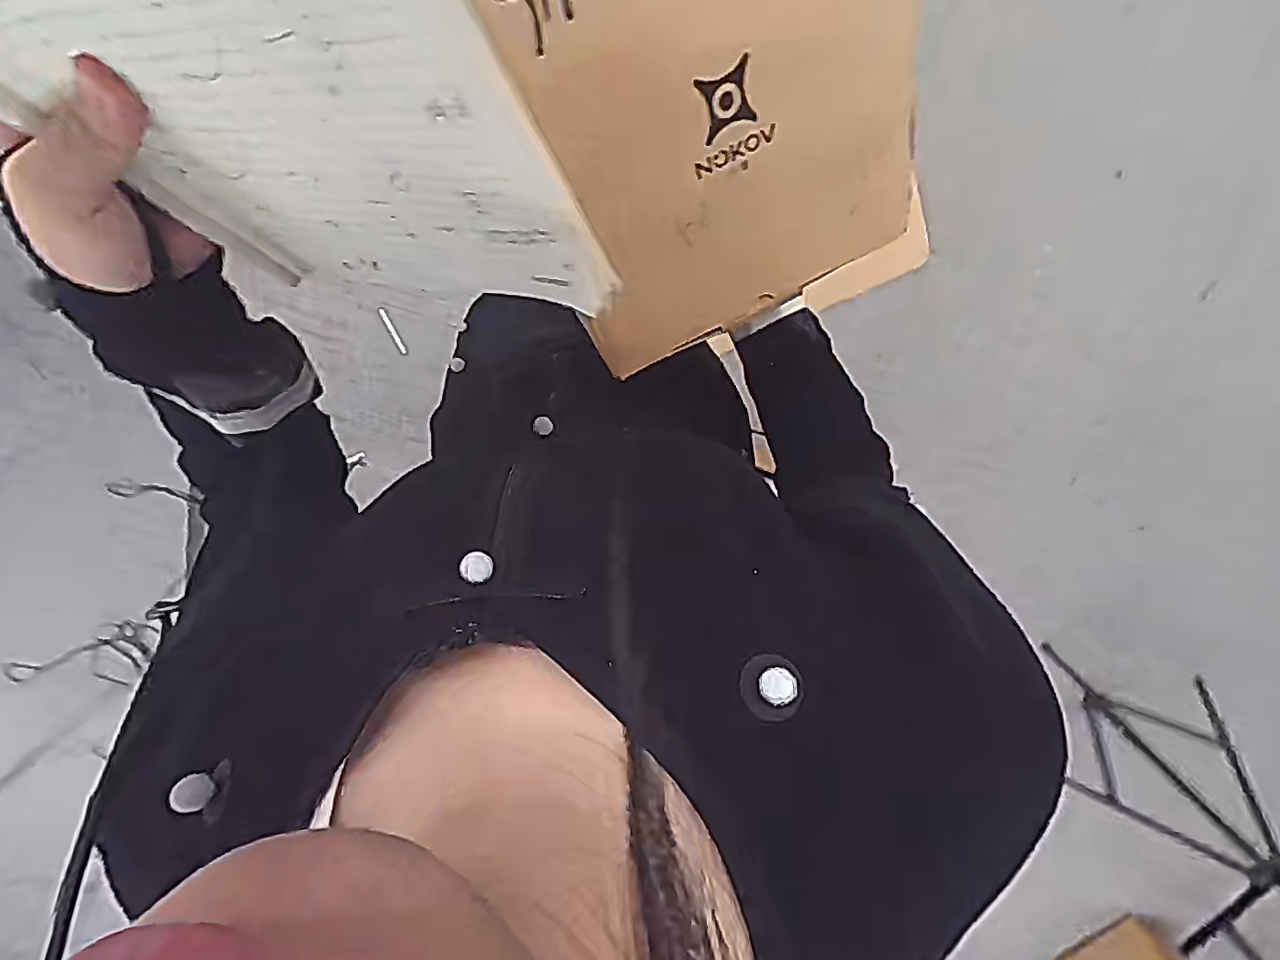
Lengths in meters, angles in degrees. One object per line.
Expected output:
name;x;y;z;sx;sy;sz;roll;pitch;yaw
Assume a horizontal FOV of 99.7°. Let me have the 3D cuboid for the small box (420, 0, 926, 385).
small box;0.009;-0.187;0.264;0.168;0.176;0.179;-28;138;1
